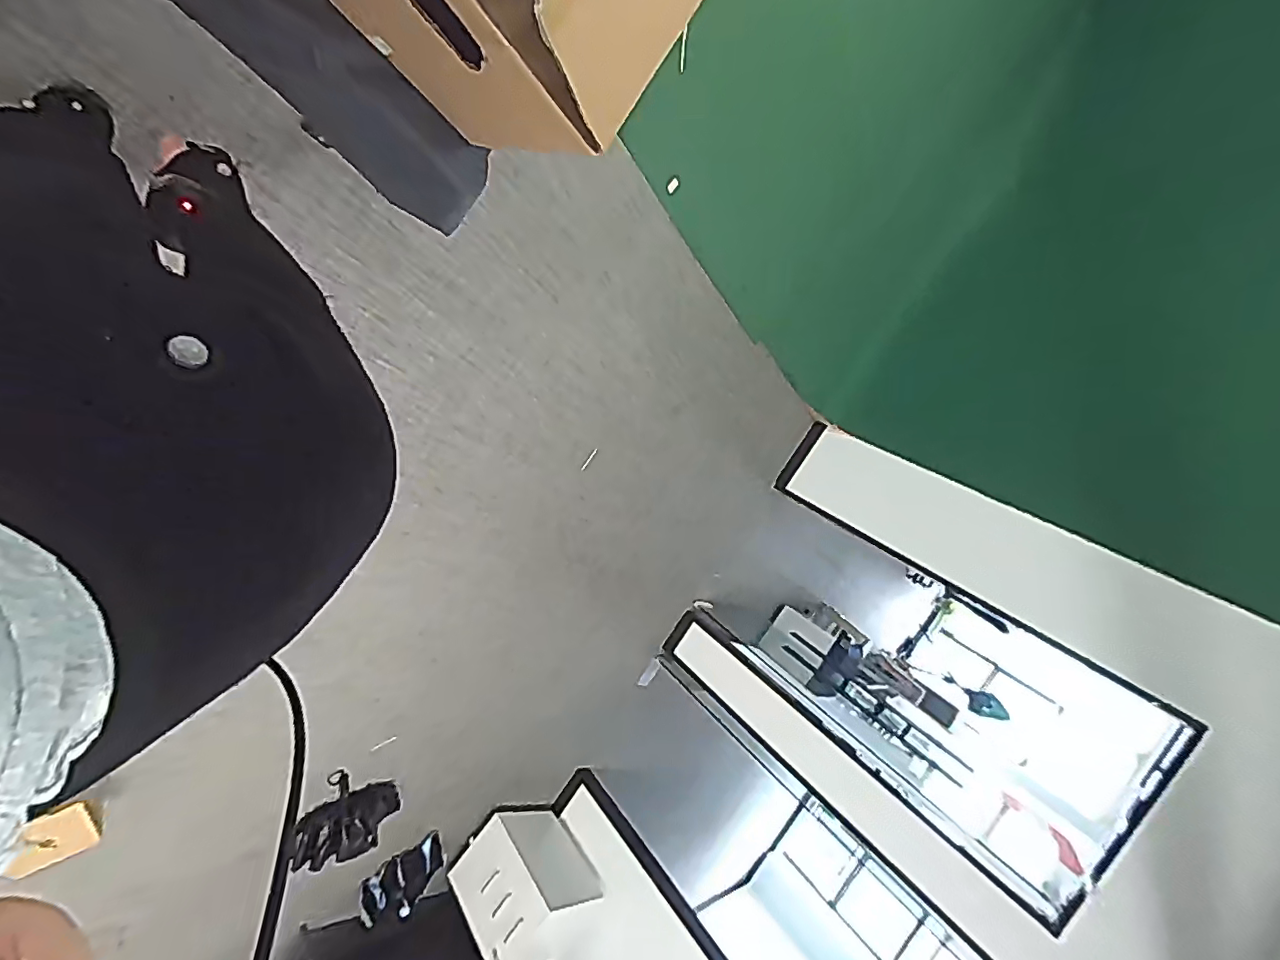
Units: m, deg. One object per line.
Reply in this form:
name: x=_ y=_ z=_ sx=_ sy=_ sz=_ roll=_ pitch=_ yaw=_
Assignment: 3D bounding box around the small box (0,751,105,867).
small box: x=-1.545 y=0.848 z=1.416 sx=0.168 sy=0.176 sz=0.179 roll=-16 pitch=129 yaw=-37
